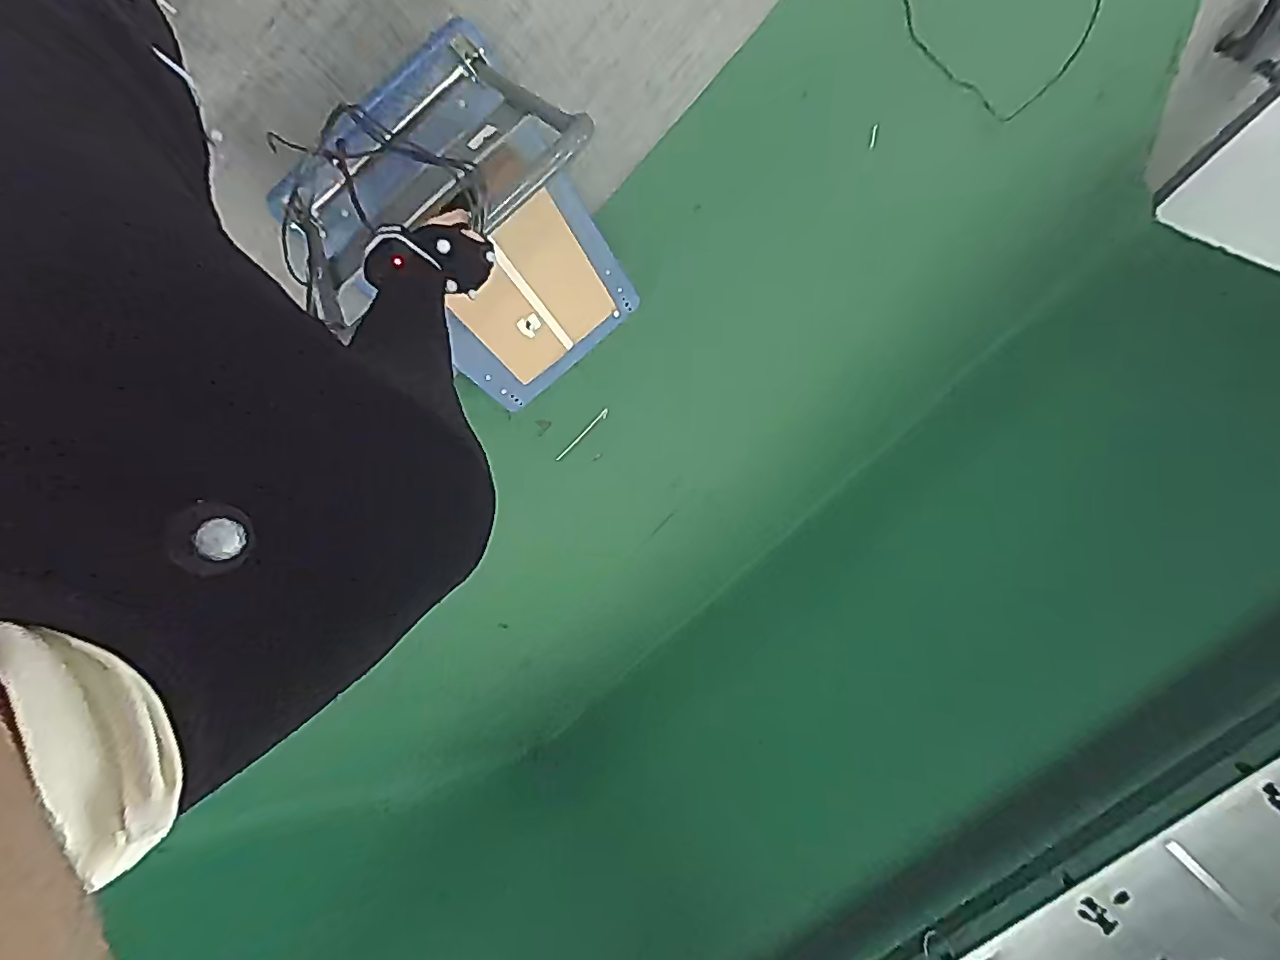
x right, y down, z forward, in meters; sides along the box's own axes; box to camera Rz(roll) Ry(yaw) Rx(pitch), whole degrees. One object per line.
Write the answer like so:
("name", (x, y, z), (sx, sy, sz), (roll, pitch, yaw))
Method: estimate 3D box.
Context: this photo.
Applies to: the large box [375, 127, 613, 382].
("large box", (-0.335, -0.520, 1.288), (0.320, 0.320, 0.408), (-39, 147, 2))
